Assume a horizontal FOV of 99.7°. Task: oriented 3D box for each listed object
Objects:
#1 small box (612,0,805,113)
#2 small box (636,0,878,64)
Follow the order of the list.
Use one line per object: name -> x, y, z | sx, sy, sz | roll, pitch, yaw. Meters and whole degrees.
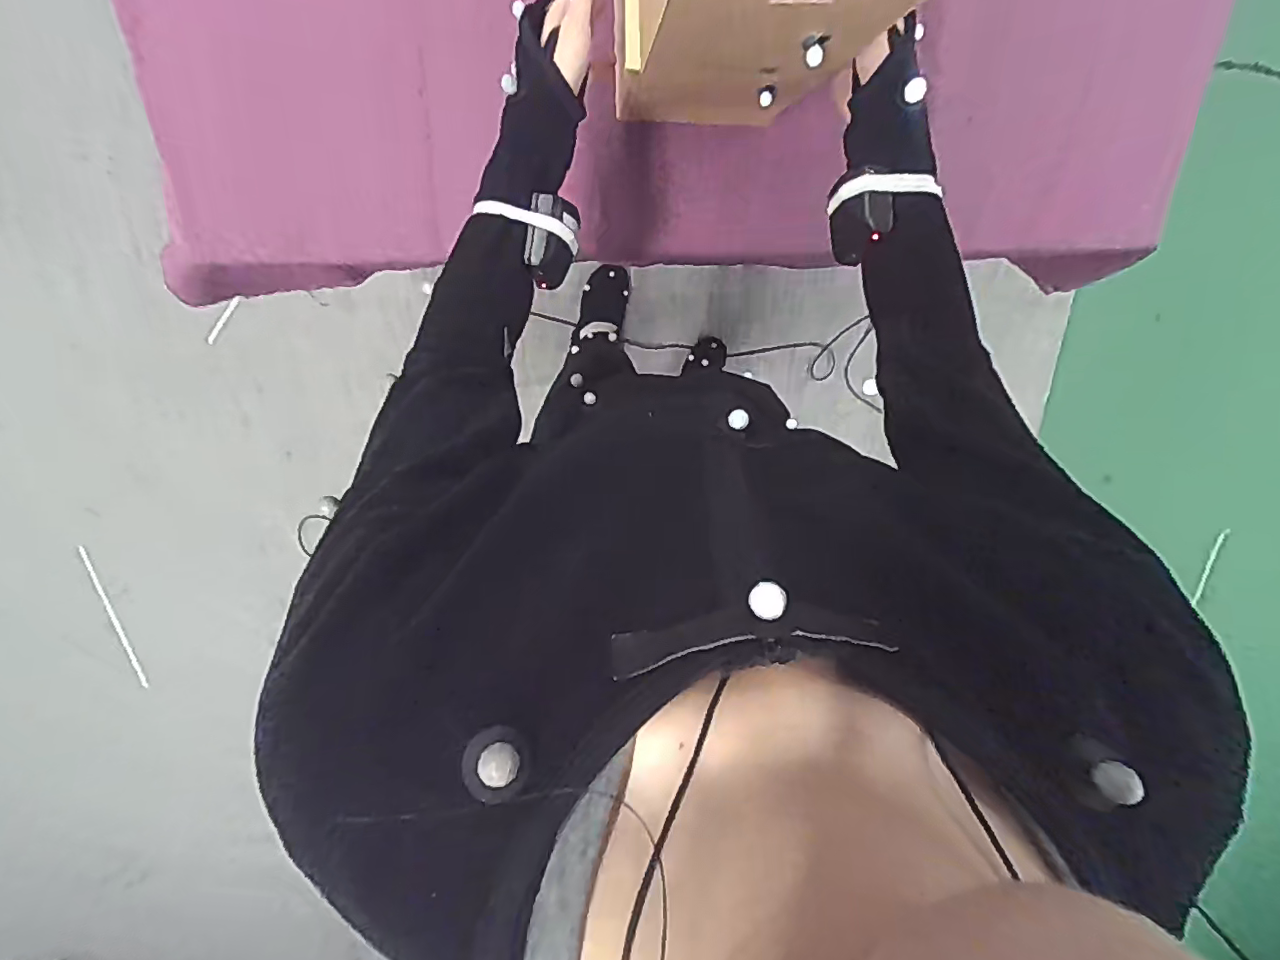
small box -> 0.062, -0.465, 0.511 | 0.179, 0.176, 0.168 | -3, 111, -6
small box -> 0.085, -0.407, 0.361 | 0.168, 0.176, 0.179 | -4, 110, -6
